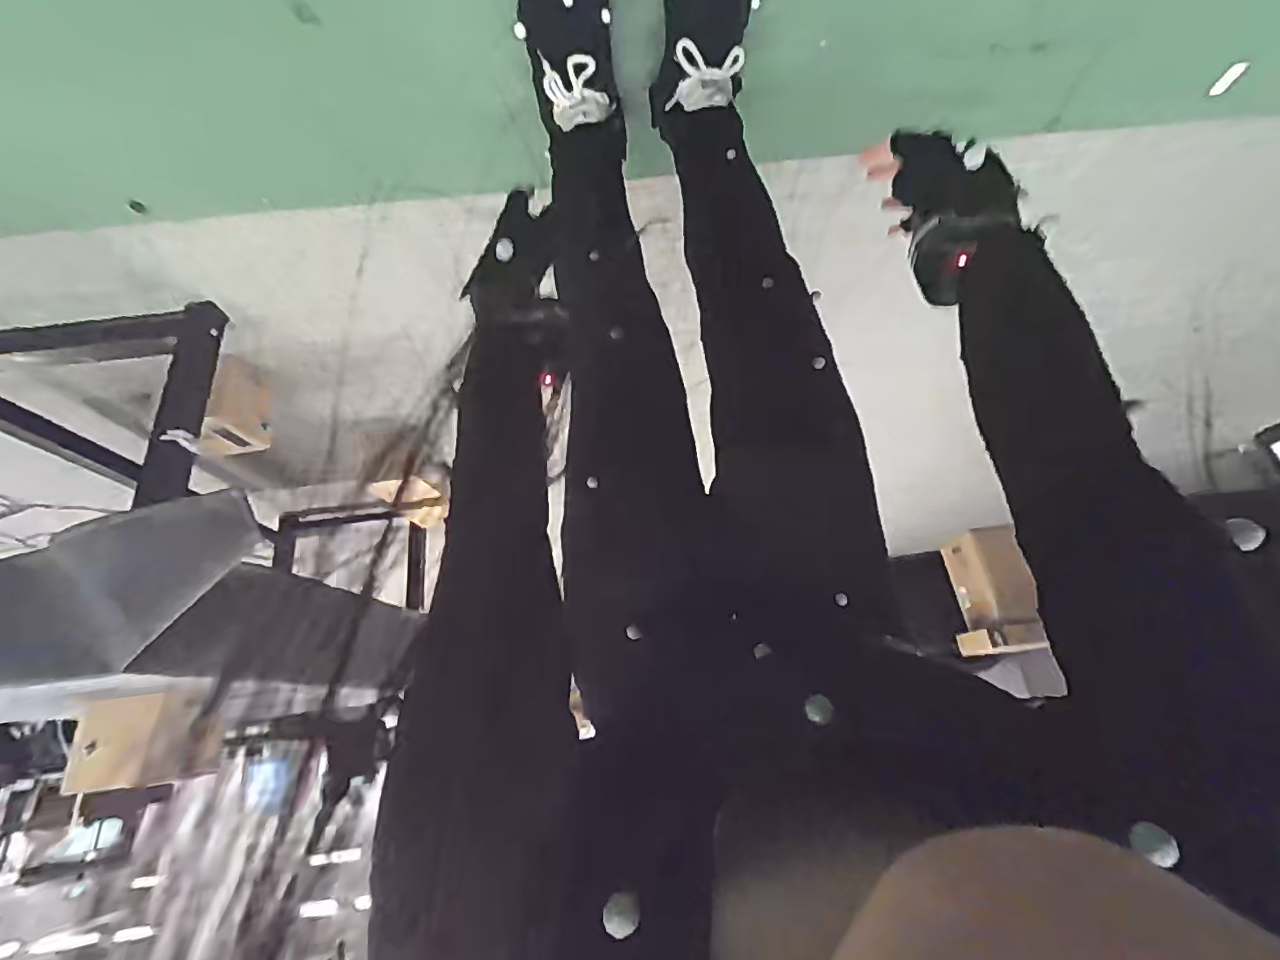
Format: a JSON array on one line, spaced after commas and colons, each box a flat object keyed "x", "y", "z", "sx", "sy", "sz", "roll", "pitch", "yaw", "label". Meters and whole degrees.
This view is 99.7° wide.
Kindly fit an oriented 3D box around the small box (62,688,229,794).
[{"x": -0.986, "y": 0.523, "z": 1.098, "sx": 0.179, "sy": 0.176, "sz": 0.168, "roll": -7, "pitch": 158, "yaw": 1, "label": "small box"}]
